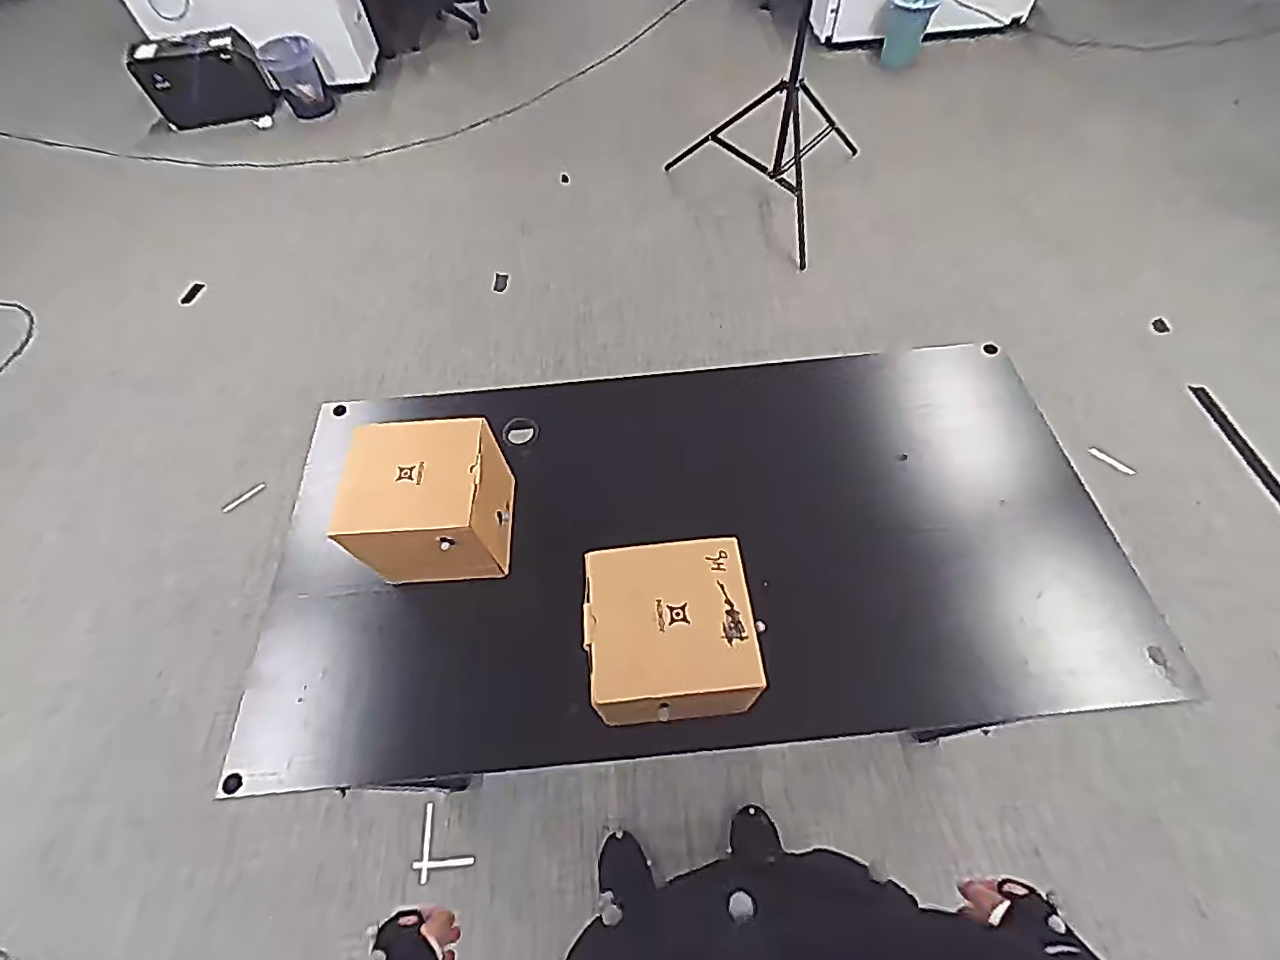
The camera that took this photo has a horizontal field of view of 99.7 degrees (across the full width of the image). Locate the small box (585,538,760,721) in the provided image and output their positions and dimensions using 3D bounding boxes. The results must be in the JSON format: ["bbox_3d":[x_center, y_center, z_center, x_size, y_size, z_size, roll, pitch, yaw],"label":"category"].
[{"bbox_3d":[0.035,0.187,0.654,0.179,0.176,0.168,-6,59,0],"label":"small box"}]

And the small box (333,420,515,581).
[{"bbox_3d":[-0.286,0.036,0.760,0.179,0.176,0.168,-4,59,0],"label":"small box"}]
